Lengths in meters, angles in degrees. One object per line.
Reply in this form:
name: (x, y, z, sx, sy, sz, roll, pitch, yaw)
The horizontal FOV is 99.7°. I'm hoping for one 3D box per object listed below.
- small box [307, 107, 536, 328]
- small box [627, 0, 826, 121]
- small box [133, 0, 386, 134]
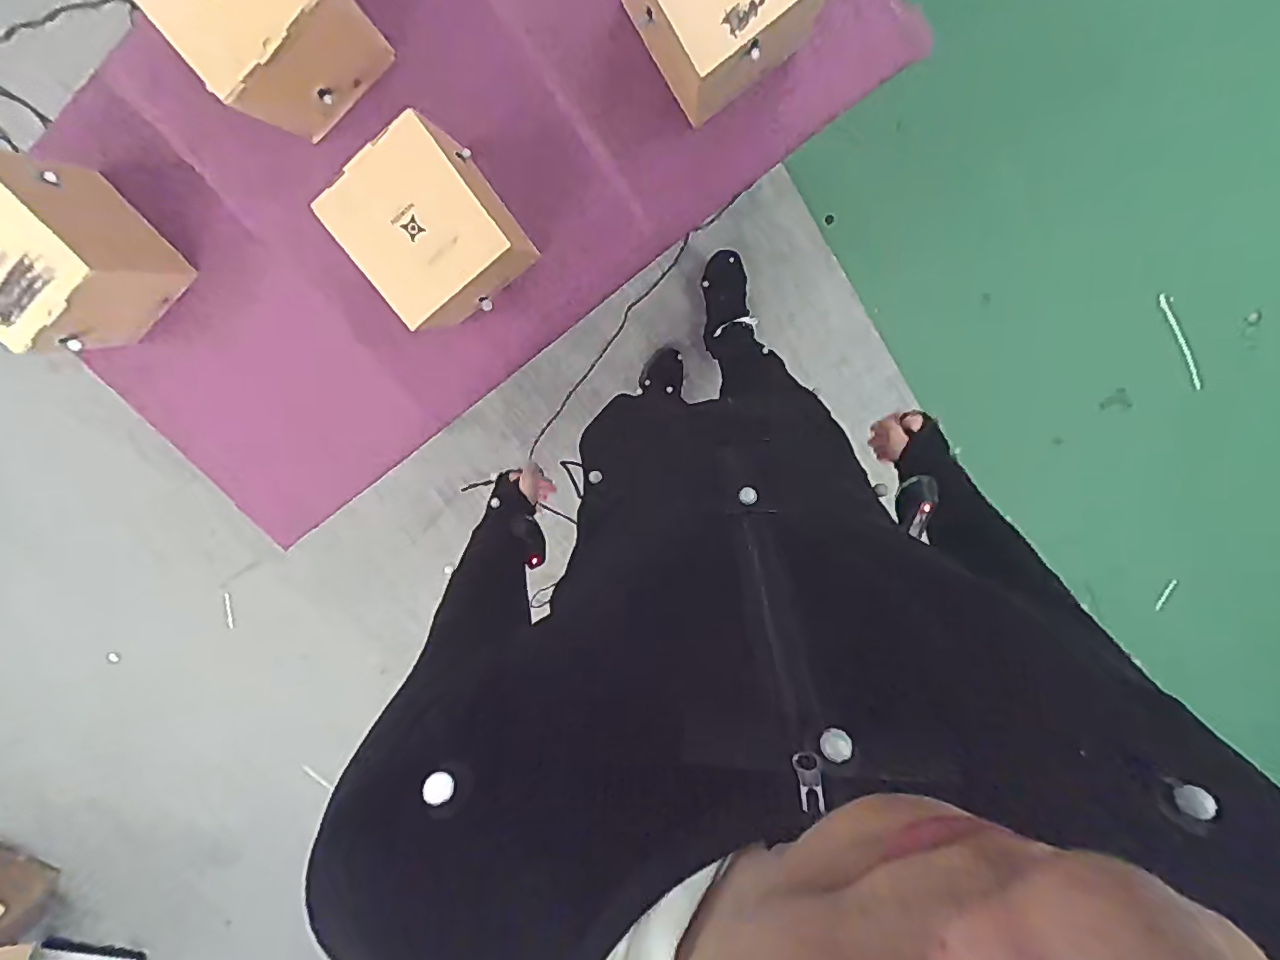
small box: (-0.259, -0.314, 0.687, 0.168, 0.176, 0.179, -34, 104, 12)
small box: (0.088, -0.551, 0.599, 0.168, 0.176, 0.179, -32, 103, 12)
small box: (-0.436, -0.541, 0.614, 0.168, 0.176, 0.179, -37, 106, 12)
